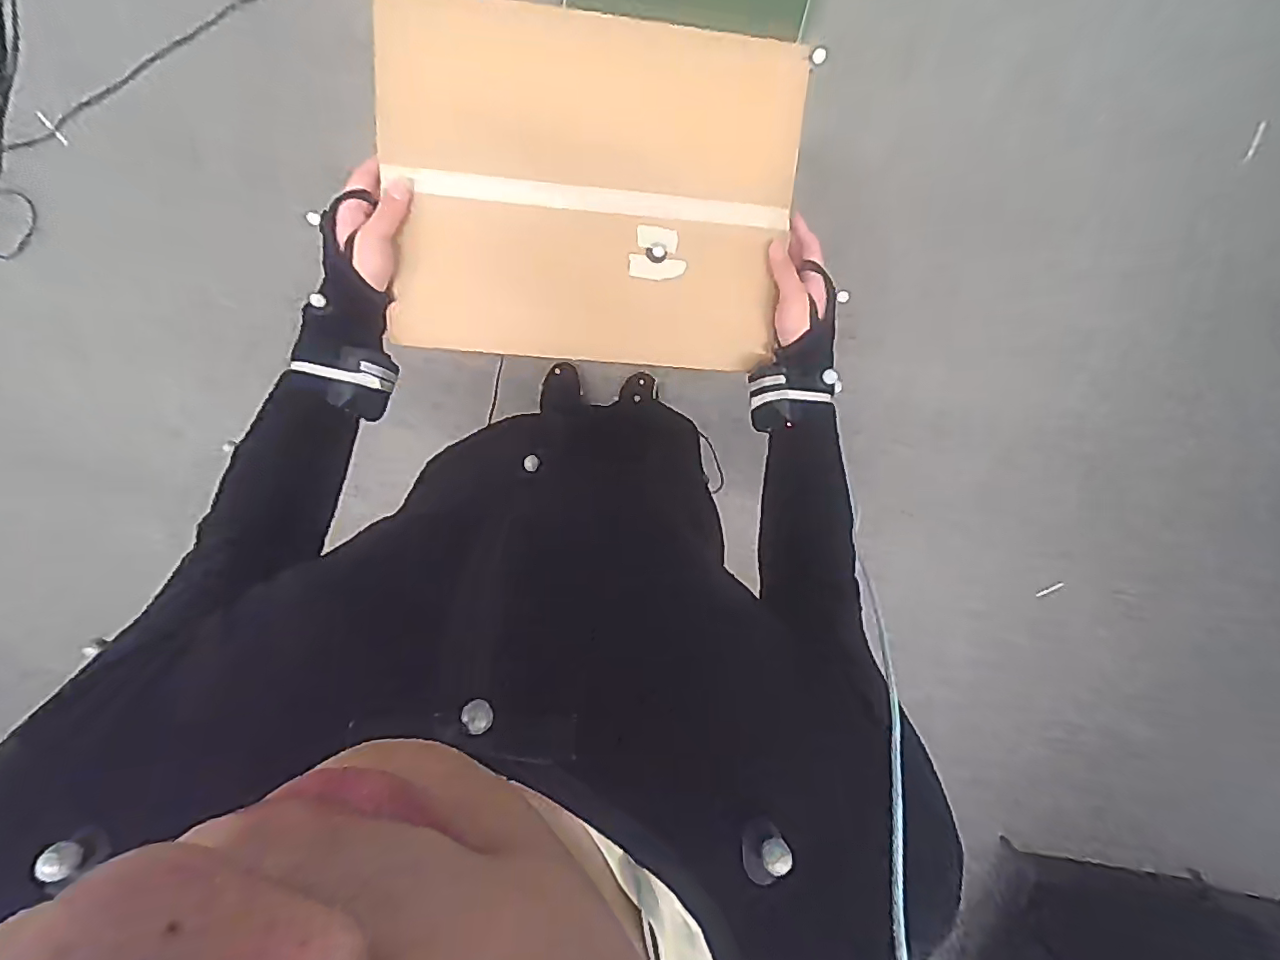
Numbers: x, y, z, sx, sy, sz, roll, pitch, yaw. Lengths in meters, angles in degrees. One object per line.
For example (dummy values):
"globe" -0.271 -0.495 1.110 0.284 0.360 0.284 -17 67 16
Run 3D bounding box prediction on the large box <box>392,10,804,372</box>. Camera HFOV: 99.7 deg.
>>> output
"large box" -0.058 -0.313 0.696 0.408 0.320 0.320 3 105 -7
